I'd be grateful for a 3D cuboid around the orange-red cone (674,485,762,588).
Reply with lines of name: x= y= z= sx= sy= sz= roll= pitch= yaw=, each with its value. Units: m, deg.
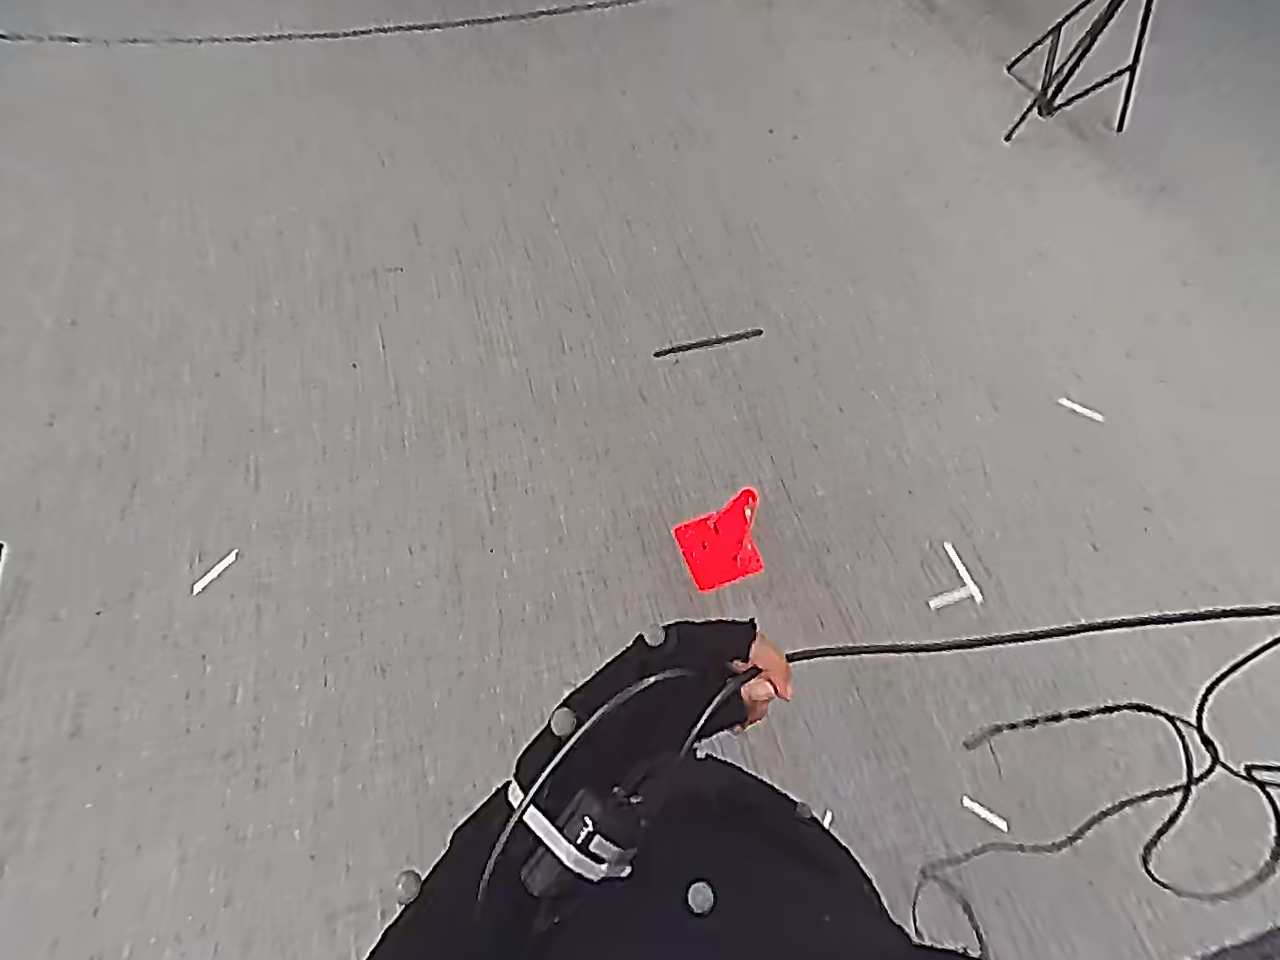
orange-red cone: x=0.217 y=0.105 z=1.313 sx=0.199 sy=0.360 sz=0.198 roll=-18 pitch=66 yaw=-10
